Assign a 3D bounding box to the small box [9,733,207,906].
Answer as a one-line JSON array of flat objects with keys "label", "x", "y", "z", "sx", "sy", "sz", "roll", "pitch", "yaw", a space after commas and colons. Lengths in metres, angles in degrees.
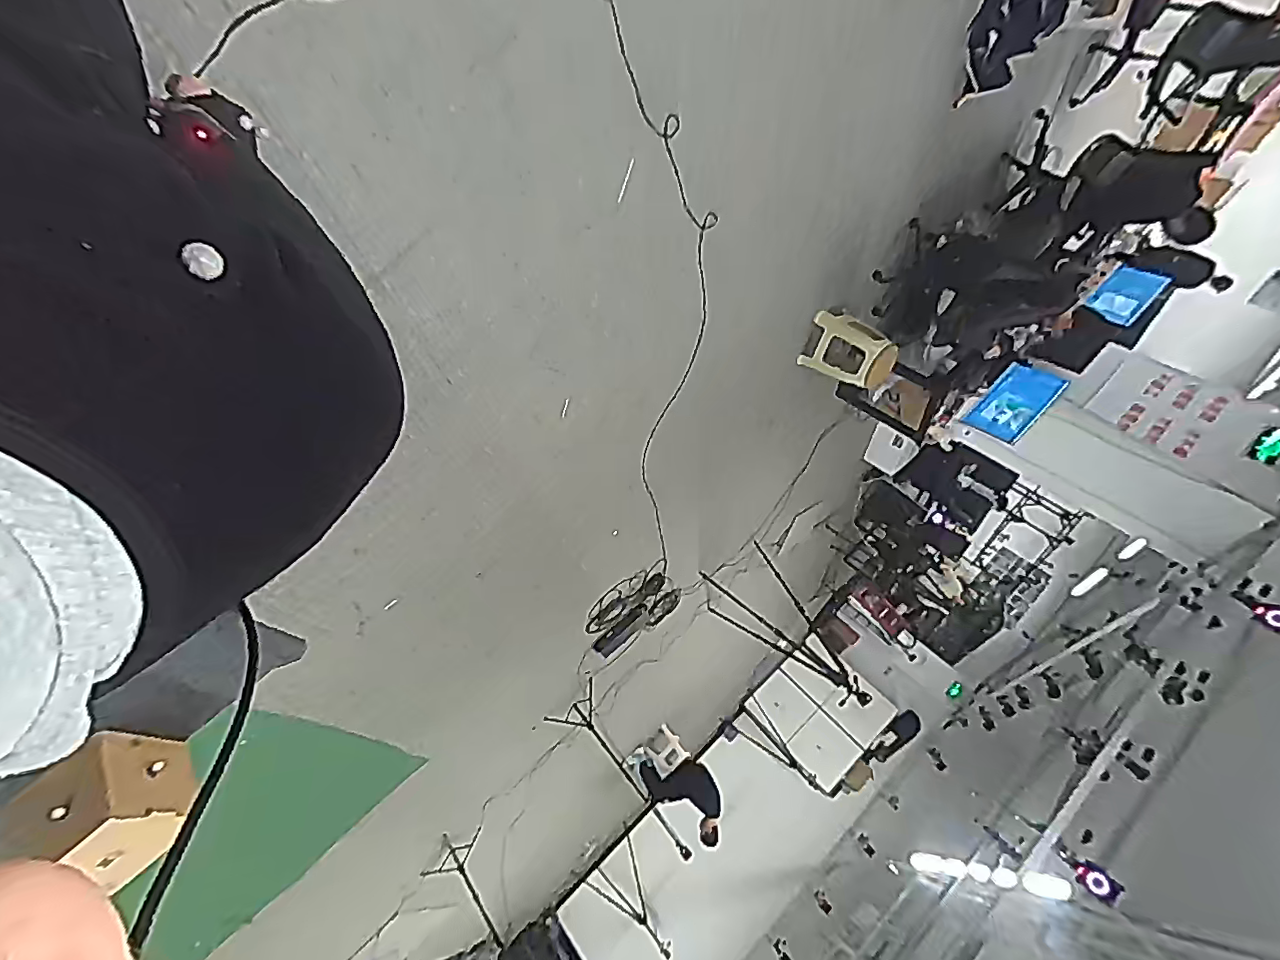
[{"label": "small box", "x": -0.899, "y": 0.562, "z": 0.914, "sx": 0.179, "sy": 0.176, "sz": 0.168, "roll": -42, "pitch": 147, "yaw": -13}]
